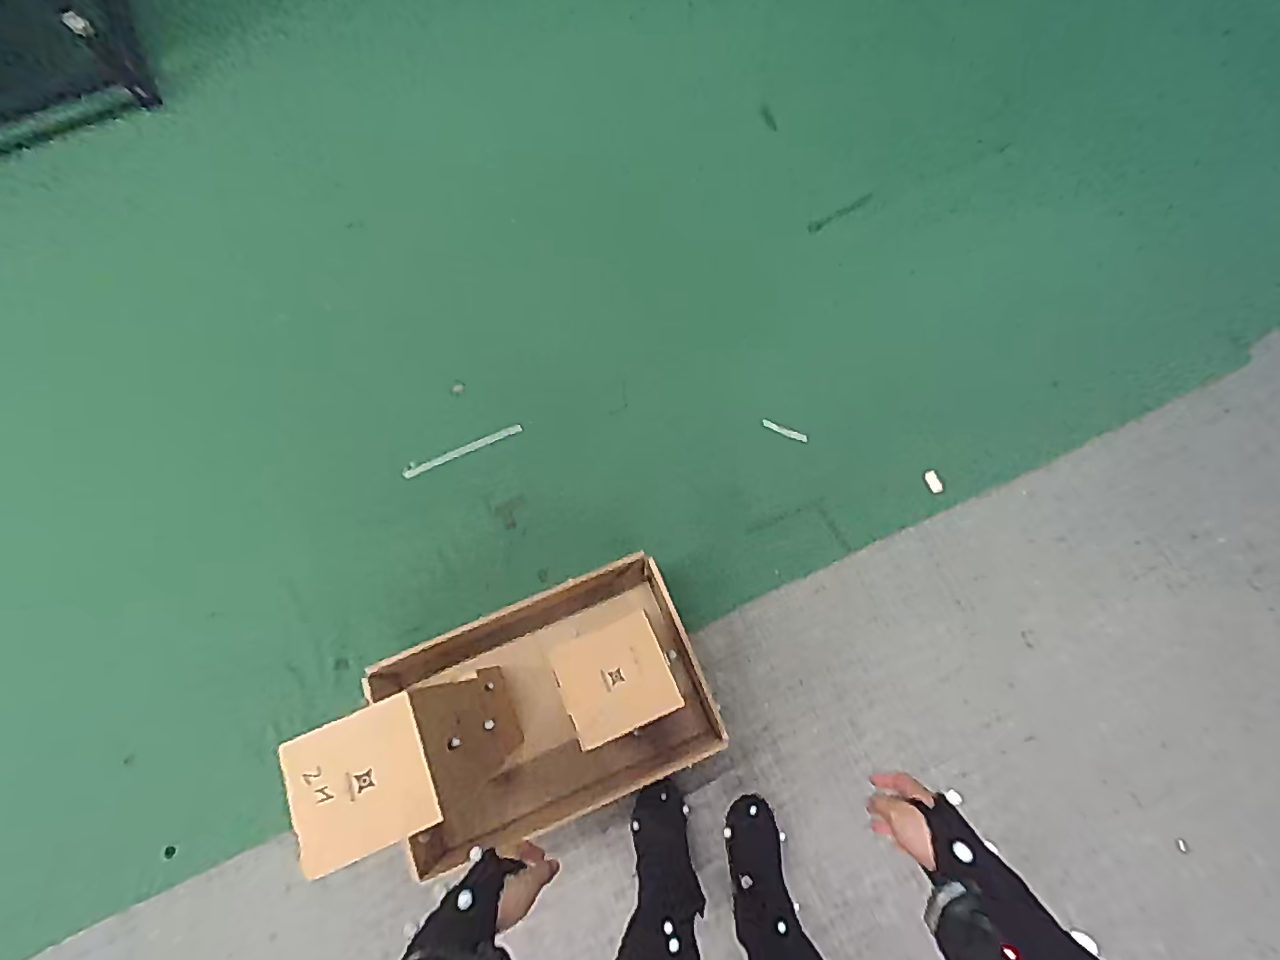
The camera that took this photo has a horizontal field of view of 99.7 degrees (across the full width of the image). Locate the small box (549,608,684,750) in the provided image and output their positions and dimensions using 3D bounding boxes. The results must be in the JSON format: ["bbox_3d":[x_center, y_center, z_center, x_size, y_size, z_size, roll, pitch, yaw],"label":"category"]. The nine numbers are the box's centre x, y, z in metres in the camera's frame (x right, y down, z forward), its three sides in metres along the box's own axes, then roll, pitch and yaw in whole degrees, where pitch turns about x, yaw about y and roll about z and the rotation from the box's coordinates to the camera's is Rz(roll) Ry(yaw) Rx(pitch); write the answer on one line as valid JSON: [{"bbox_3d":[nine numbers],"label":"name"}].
[{"bbox_3d":[-0.035,0.336,0.938,0.179,0.176,0.168,-24,76,-4],"label":"small box"}]

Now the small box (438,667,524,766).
[{"bbox_3d":[-0.347,0.490,1.073,0.168,0.176,0.179,-23,75,-6],"label":"small box"}]

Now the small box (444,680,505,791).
[{"bbox_3d":[-0.352,0.453,0.913,0.179,0.176,0.168,-22,75,-6],"label":"small box"}]

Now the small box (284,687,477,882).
[{"bbox_3d":[-0.345,0.404,0.755,0.179,0.176,0.168,-23,74,-5],"label":"small box"}]
